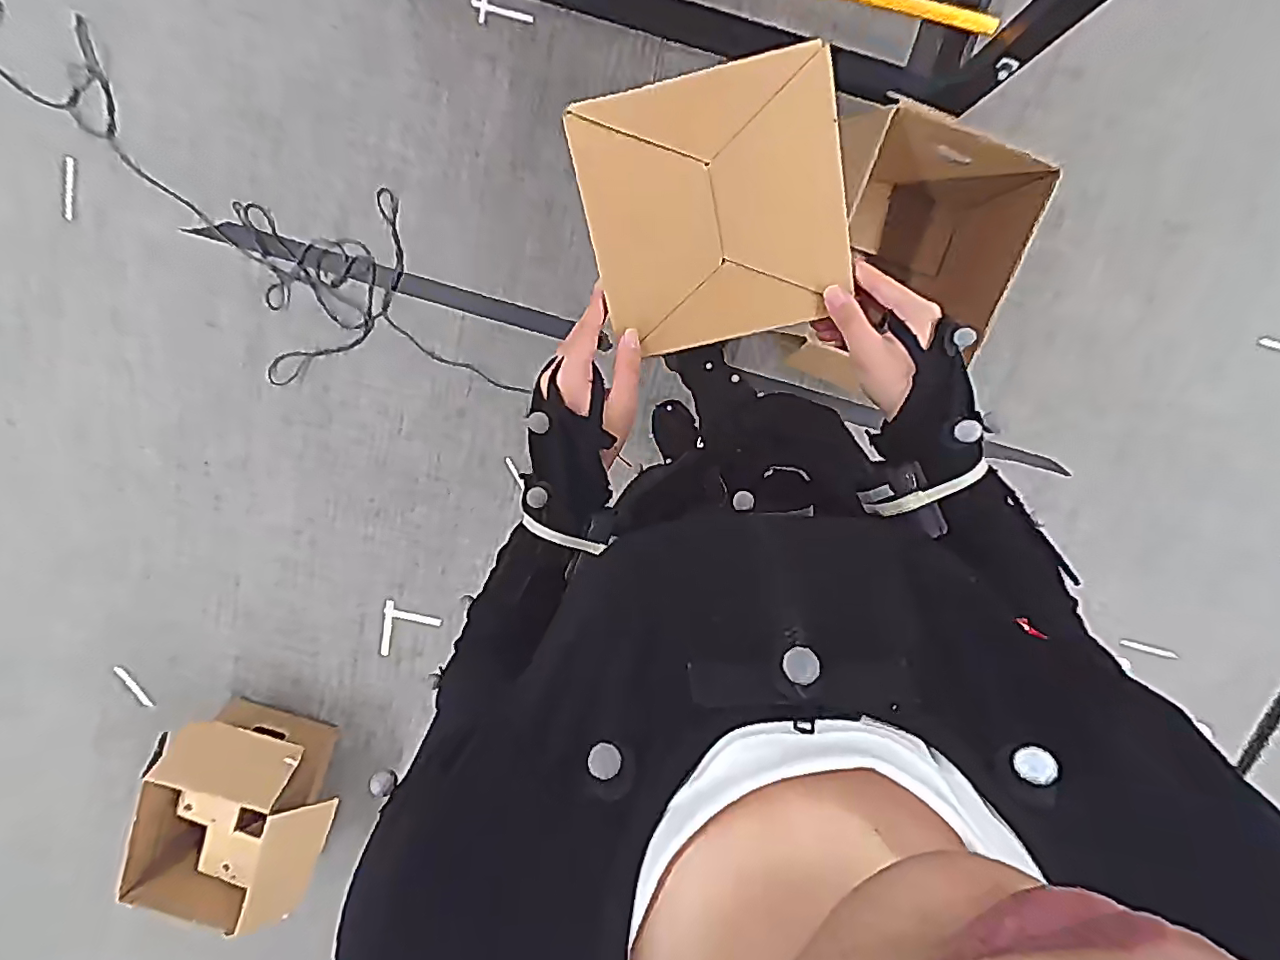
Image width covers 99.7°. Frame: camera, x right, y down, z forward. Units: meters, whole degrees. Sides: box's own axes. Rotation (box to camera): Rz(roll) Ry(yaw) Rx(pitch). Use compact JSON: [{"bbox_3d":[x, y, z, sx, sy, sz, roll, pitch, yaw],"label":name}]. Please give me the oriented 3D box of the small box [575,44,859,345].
[{"bbox_3d":[0.052,-0.210,0.442,0.179,0.176,0.168,-12,107,3],"label":"small box"}]
